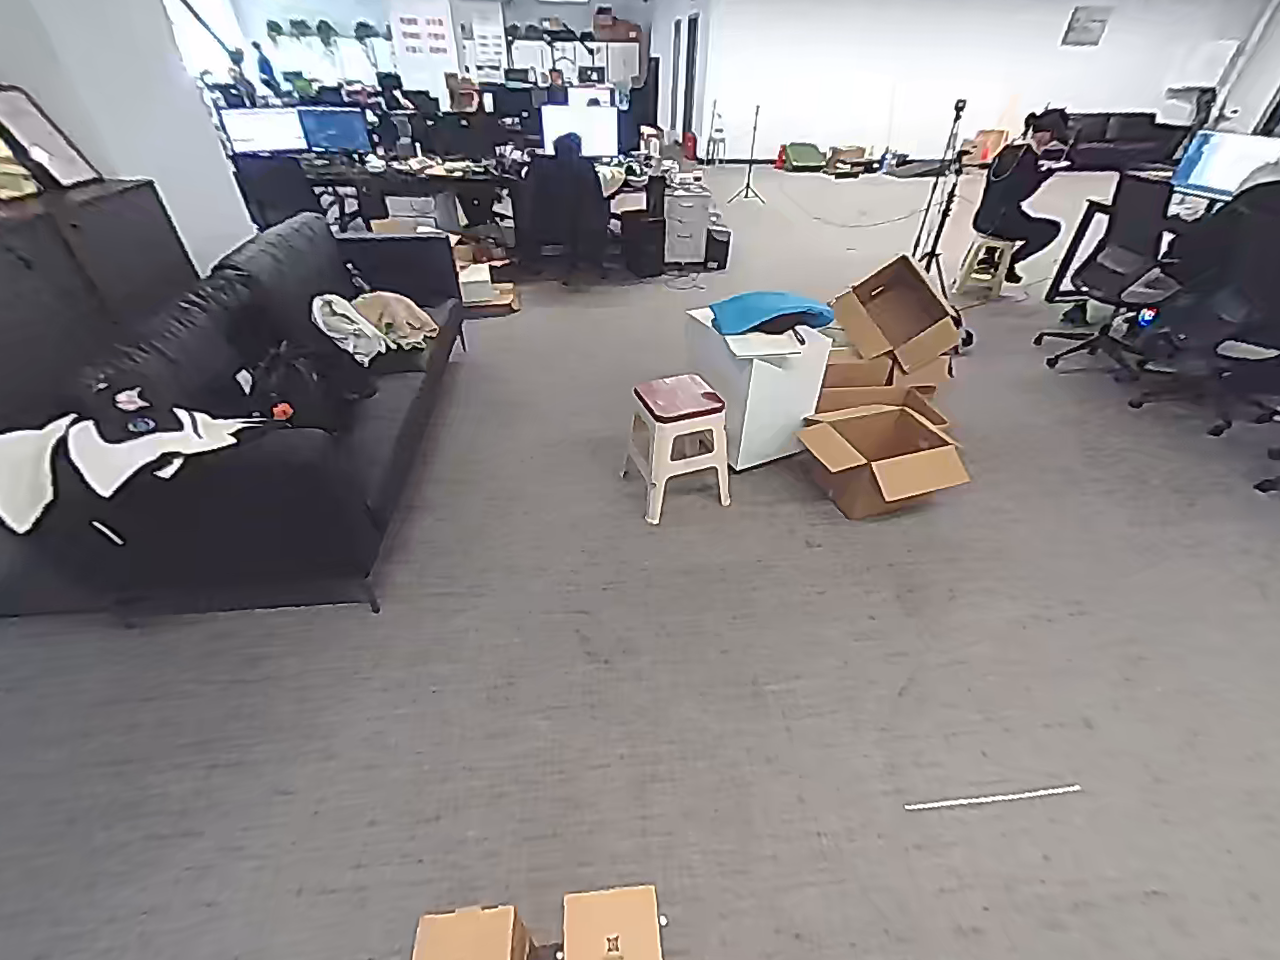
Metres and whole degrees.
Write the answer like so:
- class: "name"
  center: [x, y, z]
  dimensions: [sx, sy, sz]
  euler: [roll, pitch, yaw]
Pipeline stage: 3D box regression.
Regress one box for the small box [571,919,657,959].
- class: "small box"
  center: [-0.046, 0.991, 1.047]
  dimensions: [0.168, 0.176, 0.179]
  euler: [-3, 37, -5]
